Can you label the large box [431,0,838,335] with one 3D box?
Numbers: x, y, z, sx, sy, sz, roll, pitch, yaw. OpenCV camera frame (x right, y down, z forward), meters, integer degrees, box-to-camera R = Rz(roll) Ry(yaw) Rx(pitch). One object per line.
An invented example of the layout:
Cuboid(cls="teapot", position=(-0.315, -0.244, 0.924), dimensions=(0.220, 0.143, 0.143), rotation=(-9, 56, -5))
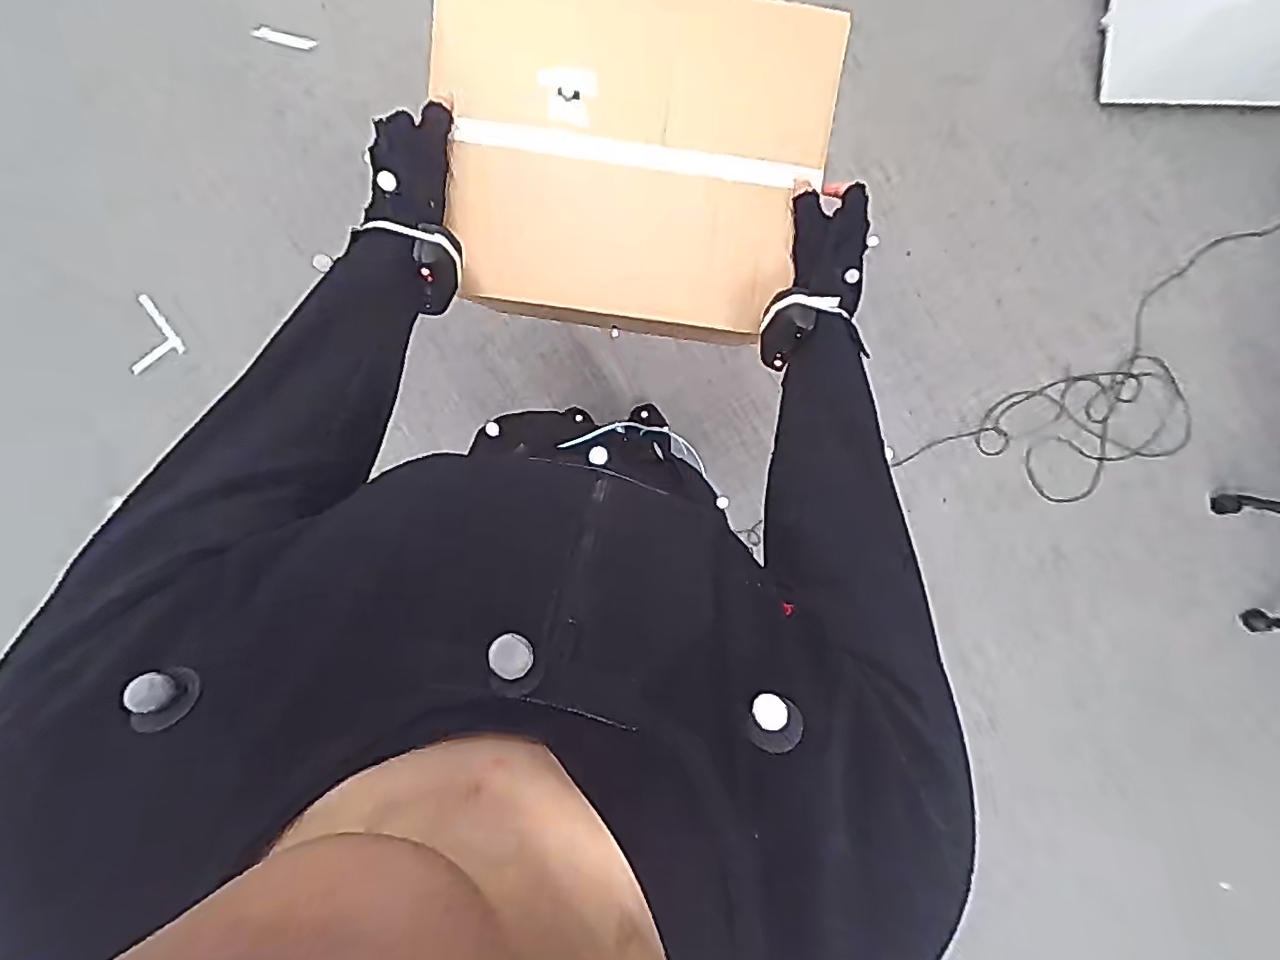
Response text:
Cuboid(cls="large box", position=(-0.014, -0.370, 0.708), dimensions=(0.408, 0.320, 0.320), rotation=(7, 102, -2))
